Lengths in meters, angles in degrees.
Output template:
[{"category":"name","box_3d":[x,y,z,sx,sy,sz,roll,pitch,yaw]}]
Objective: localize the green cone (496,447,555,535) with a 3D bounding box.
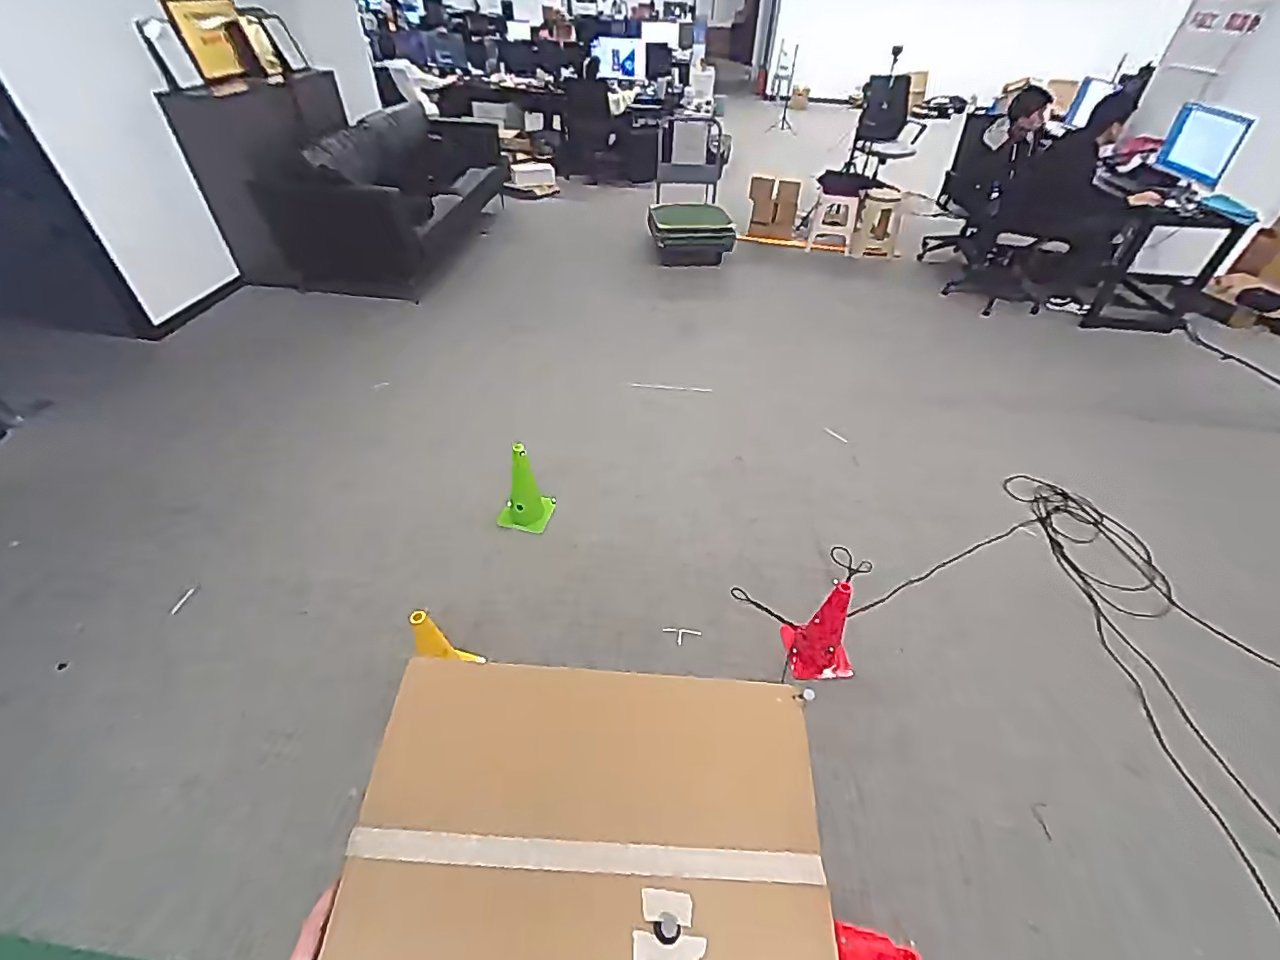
[{"category":"green cone","box_3d":[-0.472,0.016,2.136,0.200,0.368,0.202,10,44,8]}]

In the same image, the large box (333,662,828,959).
[{"category":"large box","box_3d":[-0.053,0.414,0.595,0.408,0.320,0.320,5,54,-2]}]
